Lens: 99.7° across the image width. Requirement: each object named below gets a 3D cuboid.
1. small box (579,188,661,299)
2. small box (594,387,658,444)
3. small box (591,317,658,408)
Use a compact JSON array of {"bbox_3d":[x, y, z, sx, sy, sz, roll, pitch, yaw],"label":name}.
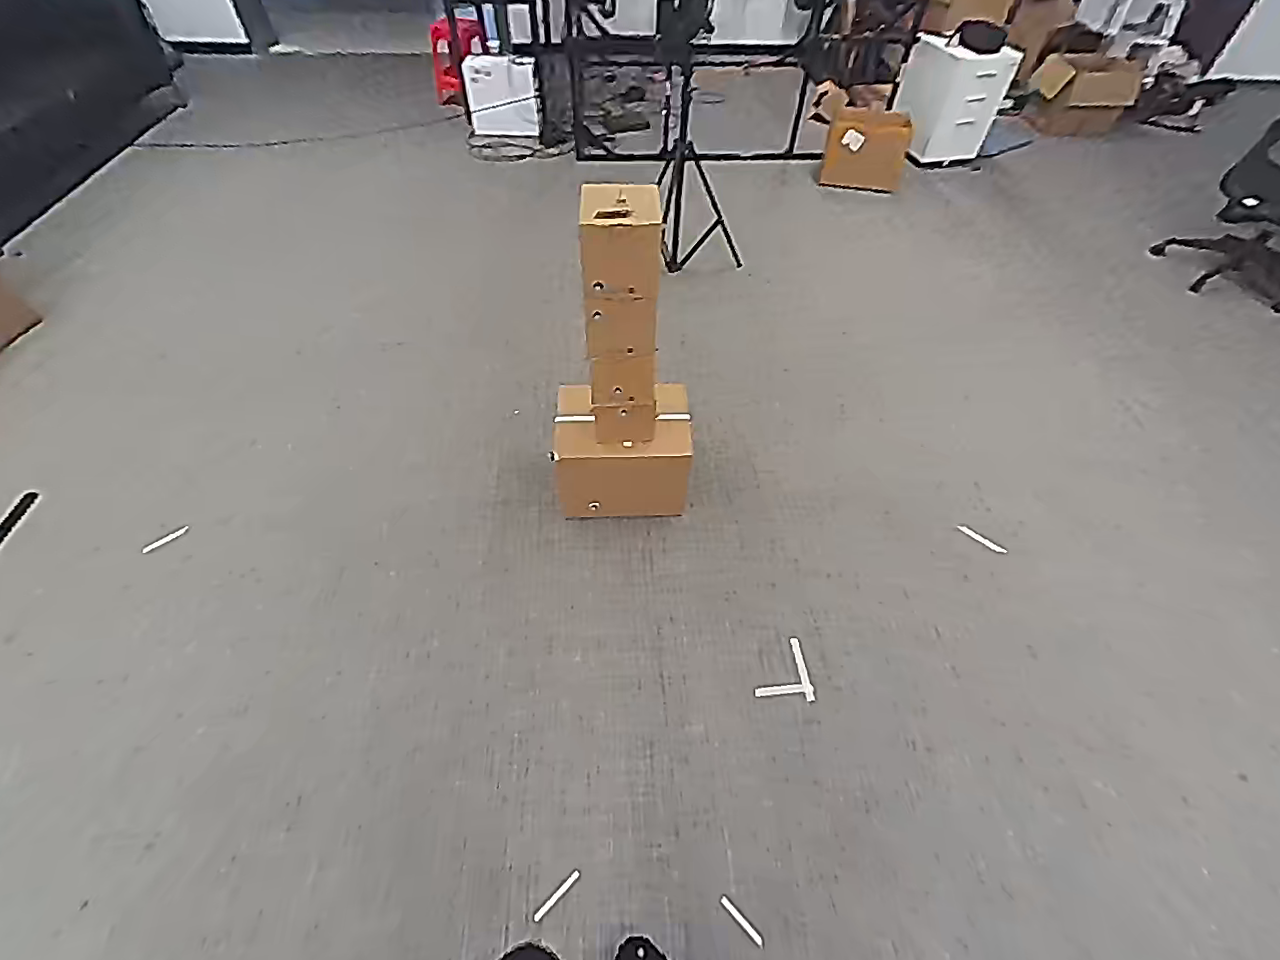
[{"bbox_3d":[-0.040,-0.511,1.178,0.168,0.176,0.179,-1,52,-2],"label":"small box"},{"bbox_3d":[-0.042,-0.218,1.572,0.179,0.176,0.168,-3,53,-4],"label":"small box"},{"bbox_3d":[-0.044,-0.312,1.439,0.168,0.176,0.179,-3,53,-3],"label":"small box"}]
